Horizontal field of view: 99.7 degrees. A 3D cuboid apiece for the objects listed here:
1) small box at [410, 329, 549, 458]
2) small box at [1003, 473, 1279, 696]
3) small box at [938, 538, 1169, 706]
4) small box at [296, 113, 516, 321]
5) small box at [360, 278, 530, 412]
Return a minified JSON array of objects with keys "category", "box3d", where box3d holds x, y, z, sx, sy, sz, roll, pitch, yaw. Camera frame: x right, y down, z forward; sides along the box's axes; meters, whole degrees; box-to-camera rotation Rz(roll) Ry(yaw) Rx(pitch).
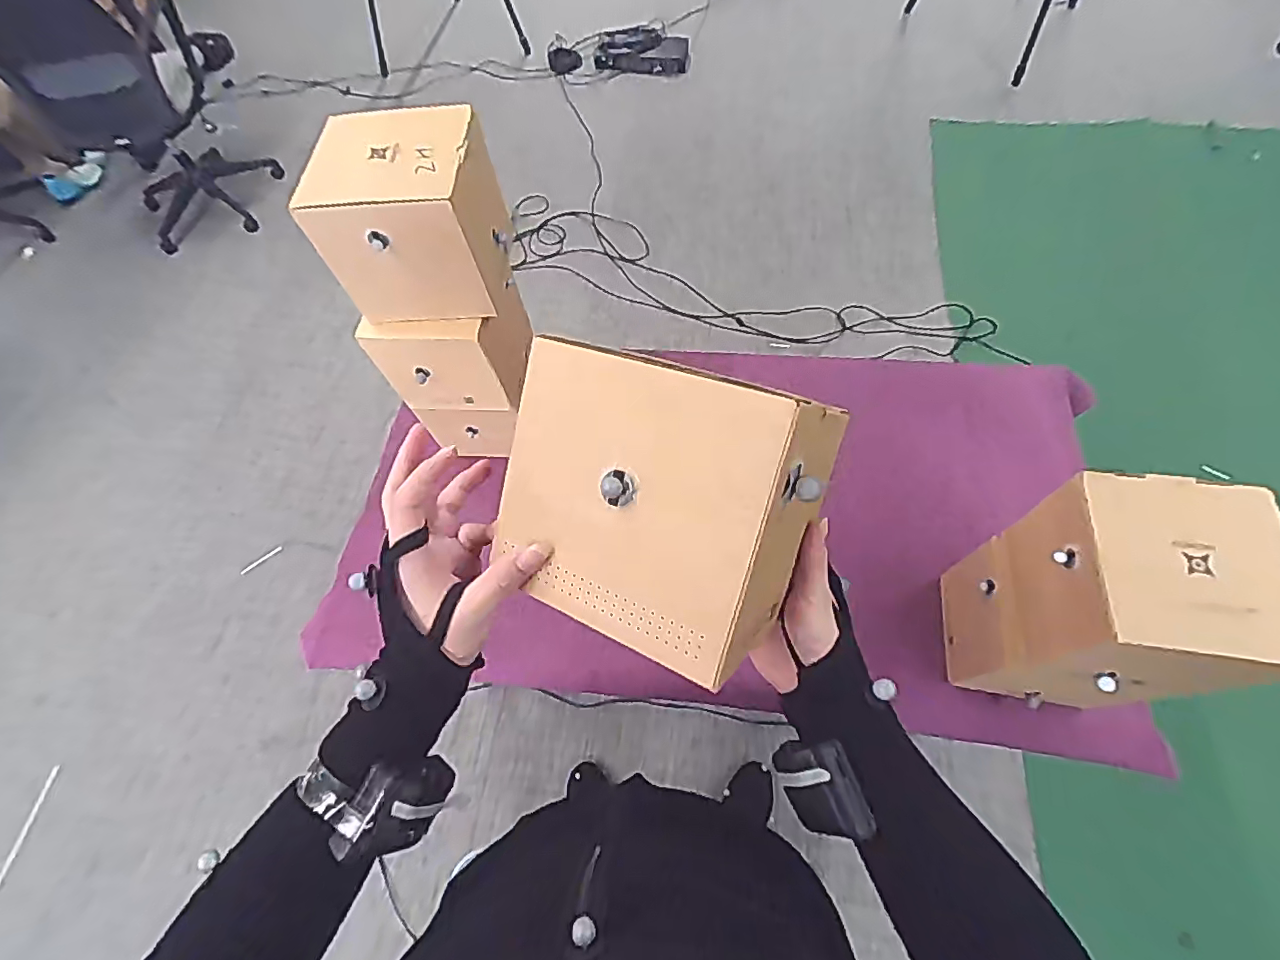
[{"category":"small box","box3d":[-0.266,-0.148,0.947,0.179,0.176,0.168,1,63,5]},{"category":"small box","box3d":[0.515,0.115,0.572,0.168,0.176,0.179,7,64,10]},{"category":"small box","box3d":[0.523,0.194,0.714,0.179,0.176,0.168,8,62,8]},{"category":"small box","box3d":[-0.268,-0.313,0.664,0.179,0.176,0.168,-1,63,3]},{"category":"small box","box3d":[-0.271,-0.216,0.800,0.168,0.176,0.179,2,63,5]}]
